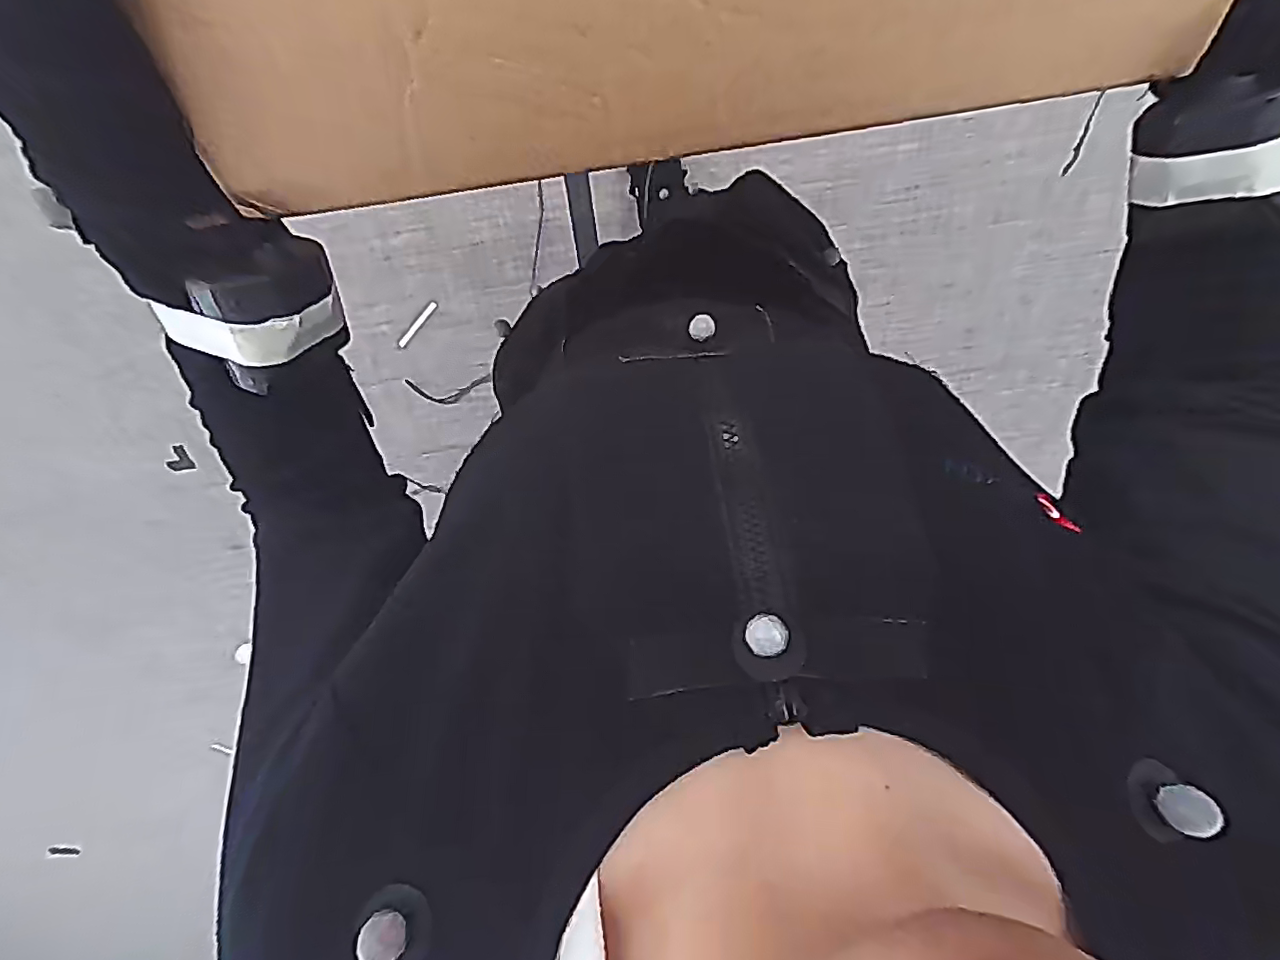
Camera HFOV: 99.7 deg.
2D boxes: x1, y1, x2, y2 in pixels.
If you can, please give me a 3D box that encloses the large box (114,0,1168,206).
[{"bbox_3d":[-0.009,-0.362,0.215,0.408,0.320,0.320,-8,140,1],"label":"large box"}]
